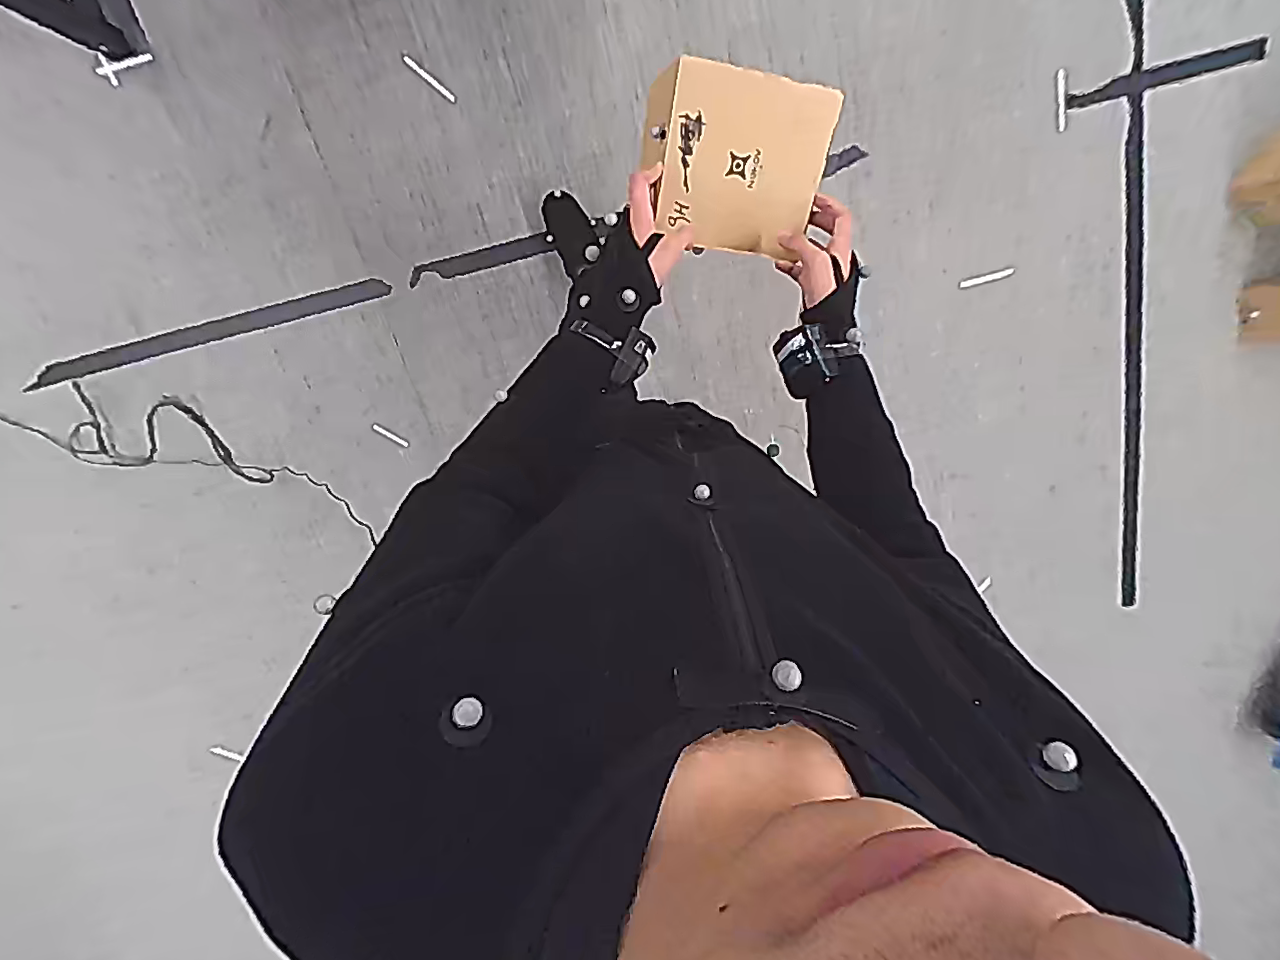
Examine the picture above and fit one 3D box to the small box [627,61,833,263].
[{"bbox_3d":[0.092,-0.371,0.648,0.179,0.176,0.168,4,119,-12],"label":"small box"}]
